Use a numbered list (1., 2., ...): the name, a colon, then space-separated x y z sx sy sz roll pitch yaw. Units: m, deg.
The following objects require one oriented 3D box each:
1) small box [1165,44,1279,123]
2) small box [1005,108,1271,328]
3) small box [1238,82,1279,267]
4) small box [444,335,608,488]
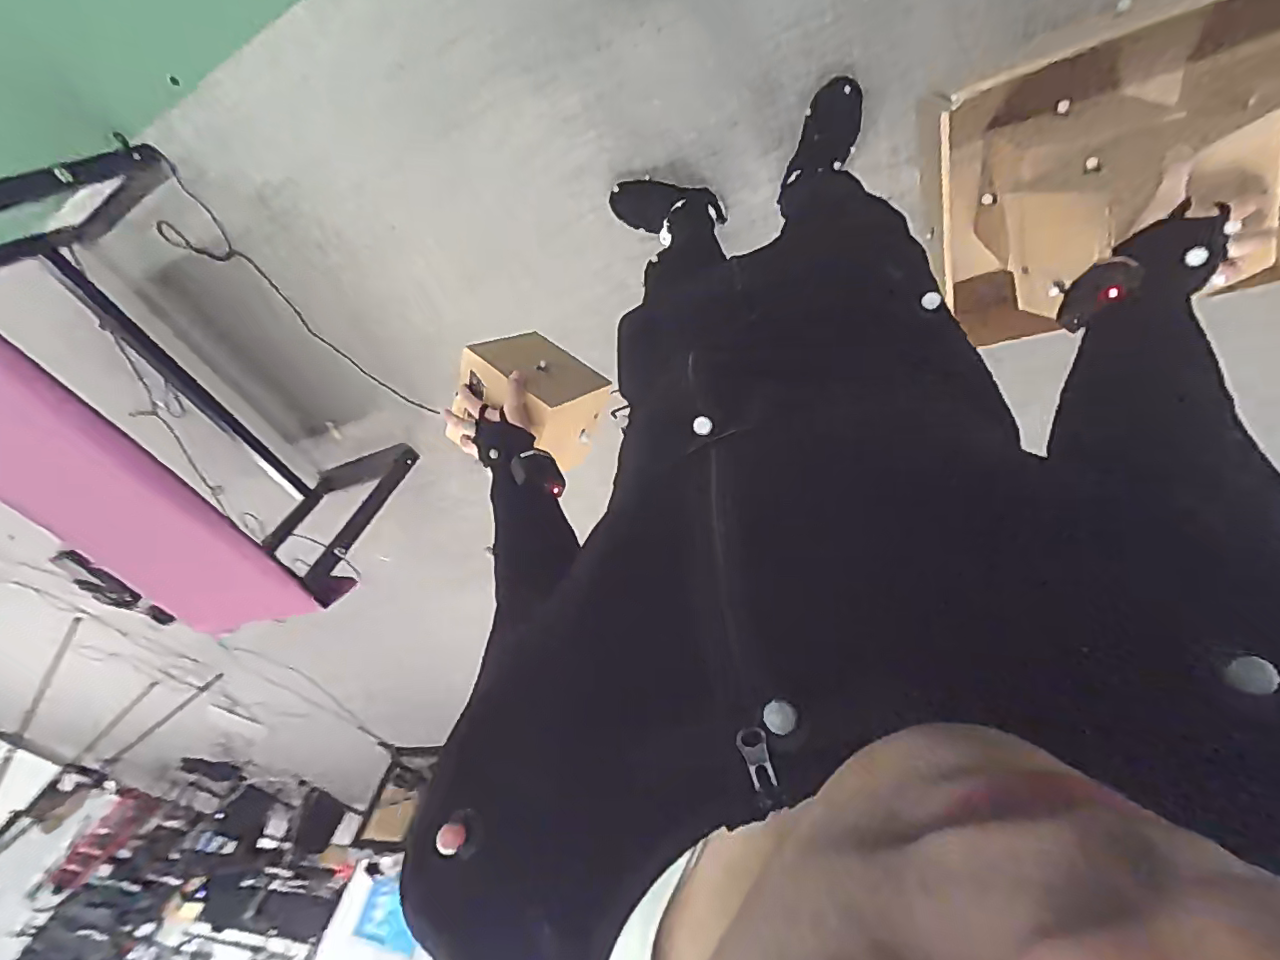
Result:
1. small box: 0.851 -0.475 0.724 0.179 0.176 0.168 -9 128 22
2. small box: 0.580 -0.310 0.657 0.179 0.176 0.168 -25 117 8
3. small box: 0.818 -0.367 0.607 0.179 0.176 0.168 -9 129 23
4. small box: -0.183 -0.121 0.880 0.179 0.176 0.168 34 125 13
